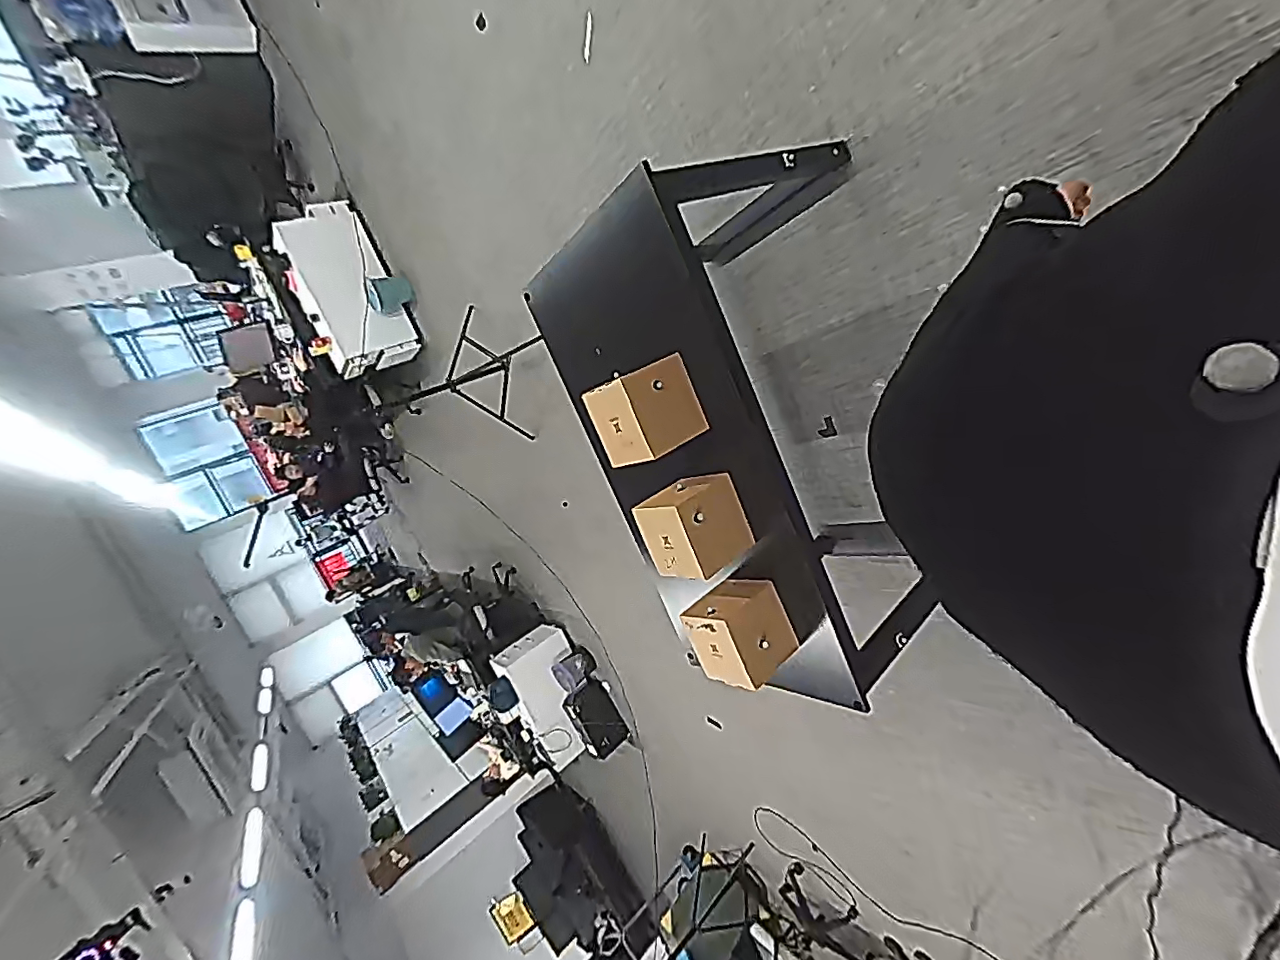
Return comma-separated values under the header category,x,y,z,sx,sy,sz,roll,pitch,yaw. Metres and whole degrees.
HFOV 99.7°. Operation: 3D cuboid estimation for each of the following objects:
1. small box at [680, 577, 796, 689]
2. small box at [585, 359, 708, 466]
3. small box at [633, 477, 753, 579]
category,x,y,z,sx,sy,sz,roll,pitch,yaw
small box,0.231,0.346,1.253,0.168,0.176,0.179,-14,103,57
small box,0.015,-0.148,1.164,0.168,0.176,0.179,-10,106,58
small box,0.121,0.100,1.210,0.168,0.176,0.179,-8,108,56
